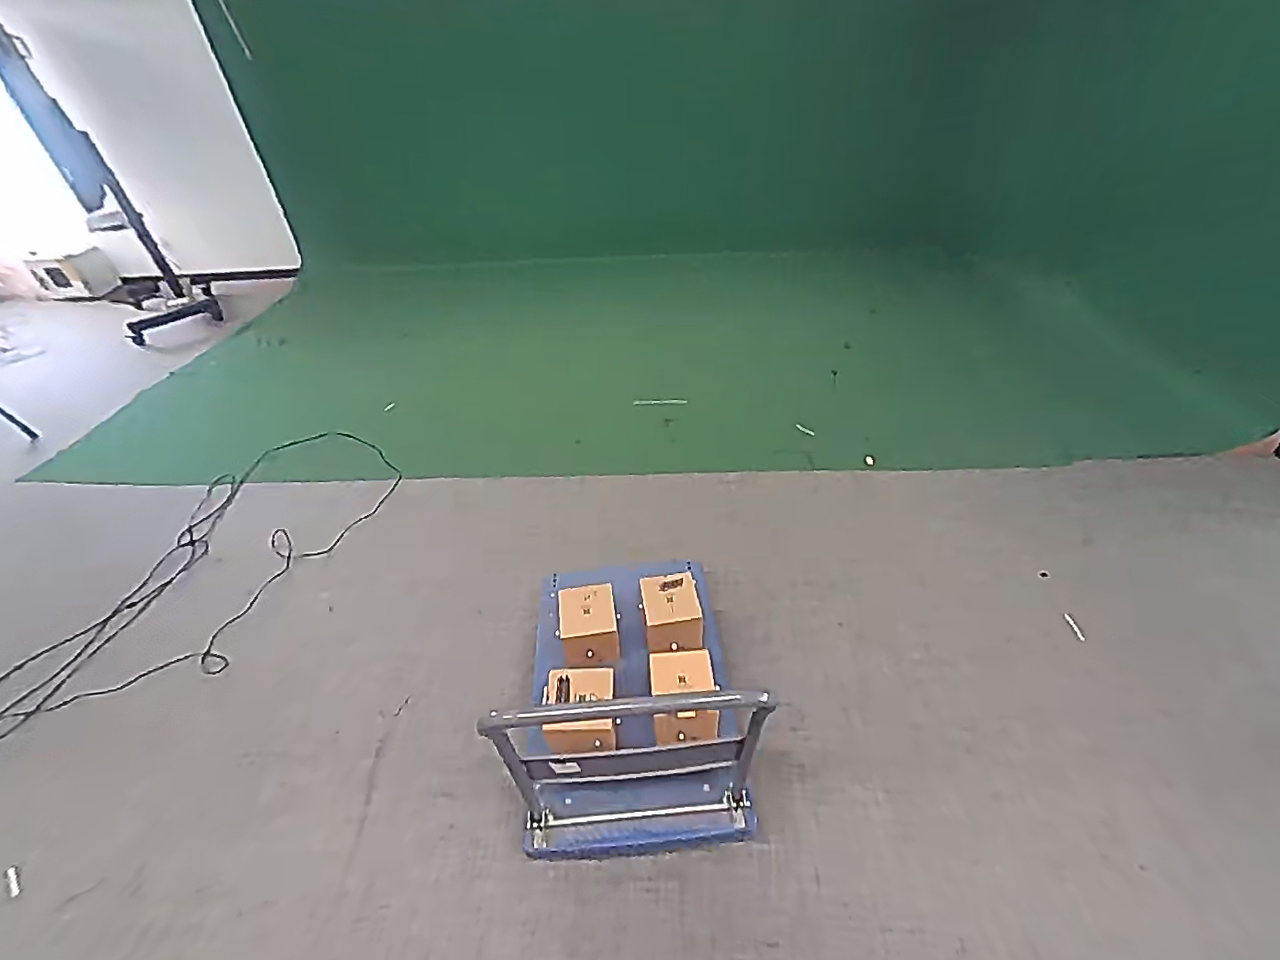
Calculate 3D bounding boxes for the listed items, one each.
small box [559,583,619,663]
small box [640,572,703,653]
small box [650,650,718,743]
[{"bbox_3d":[-0.155,0.443,1.653,0.168,0.176,0.179,-6,41,-5],"label":"small box"},{"bbox_3d":[0.094,0.411,1.673,0.168,0.176,0.179,-8,42,-3],"label":"small box"},{"bbox_3d":[0.114,0.588,1.469,0.168,0.176,0.179,-4,41,-1],"label":"small box"}]
